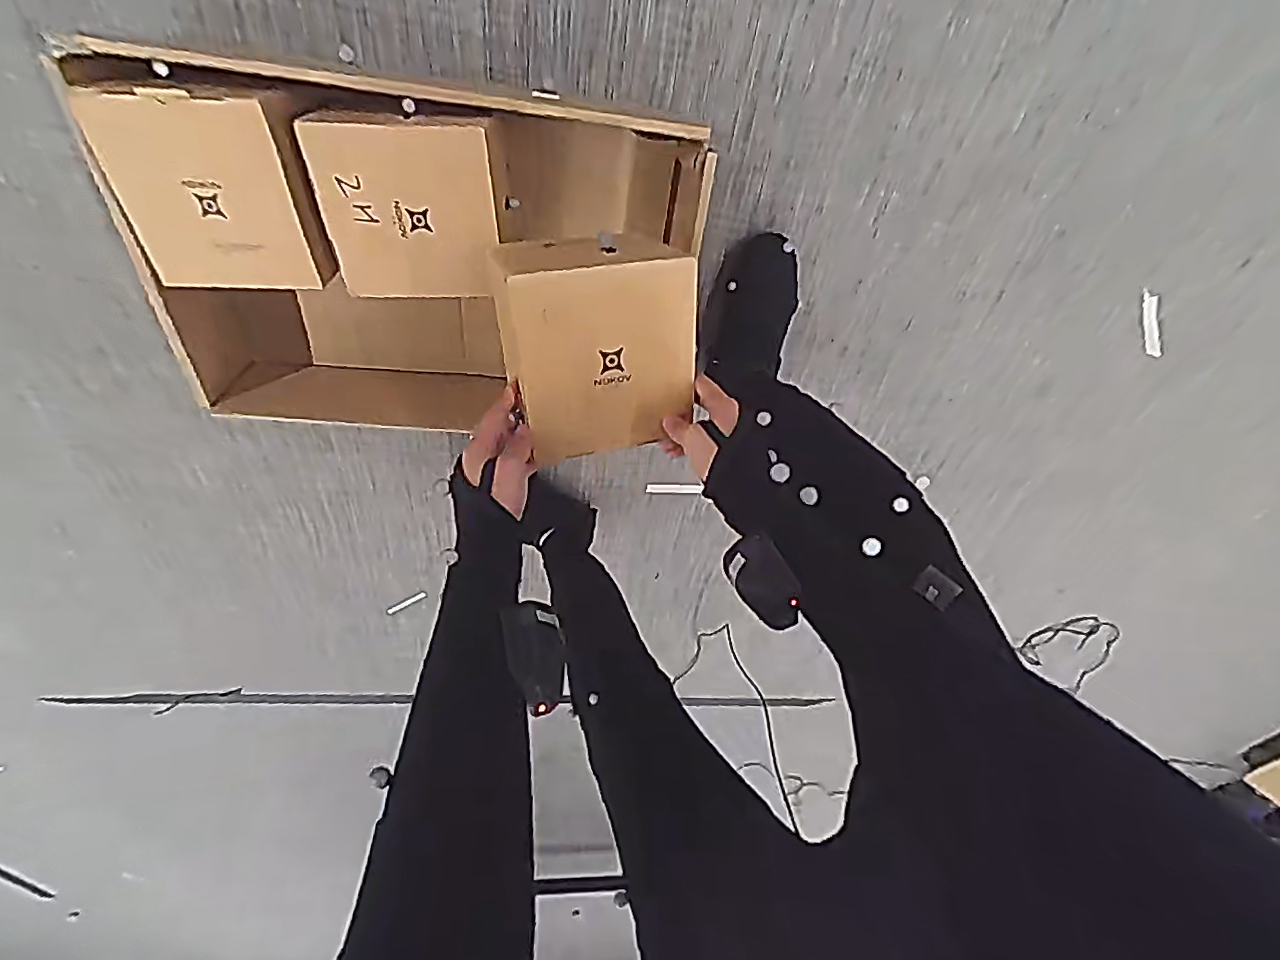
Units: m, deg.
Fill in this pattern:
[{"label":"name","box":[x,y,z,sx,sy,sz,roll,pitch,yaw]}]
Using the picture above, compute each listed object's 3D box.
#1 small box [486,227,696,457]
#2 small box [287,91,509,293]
[{"label":"small box","box":[-0.053,-0.150,0.545,0.168,0.176,0.179,-12,125,-14]},{"label":"small box","box":[-0.243,-0.322,0.602,0.179,0.176,0.168,-2,132,-6]}]
